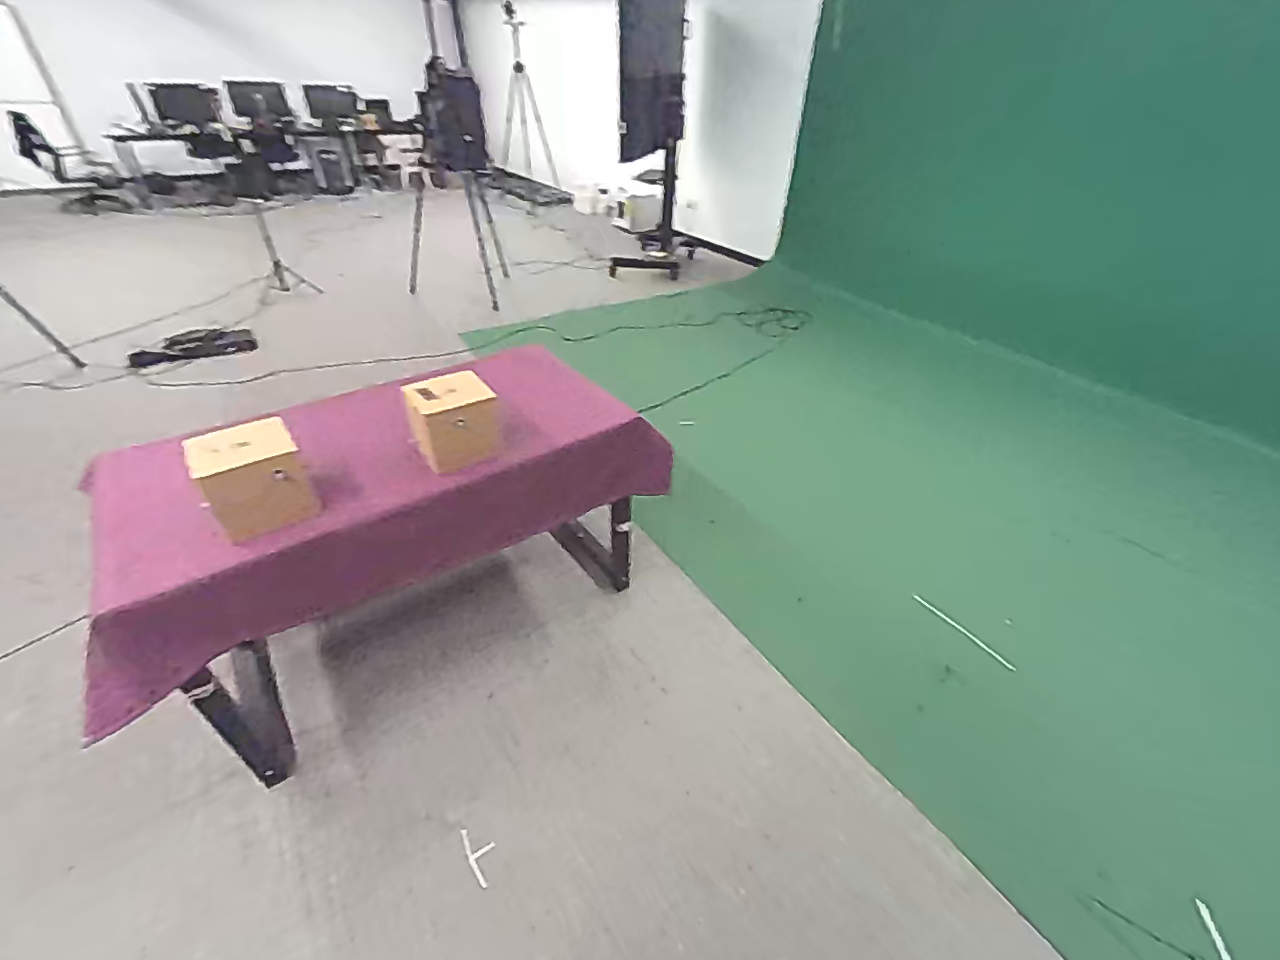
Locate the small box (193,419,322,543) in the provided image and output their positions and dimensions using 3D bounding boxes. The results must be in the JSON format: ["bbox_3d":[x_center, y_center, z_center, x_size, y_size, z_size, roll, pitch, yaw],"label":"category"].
[{"bbox_3d":[-0.796,0.000,1.139,0.179,0.176,0.168,-24,44,-30],"label":"small box"}]

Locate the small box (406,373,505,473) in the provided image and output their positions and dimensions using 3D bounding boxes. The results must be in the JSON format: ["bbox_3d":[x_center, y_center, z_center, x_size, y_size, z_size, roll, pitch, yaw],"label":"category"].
[{"bbox_3d":[-0.452,-0.141,1.341,0.179,0.176,0.168,-22,43,-28],"label":"small box"}]
